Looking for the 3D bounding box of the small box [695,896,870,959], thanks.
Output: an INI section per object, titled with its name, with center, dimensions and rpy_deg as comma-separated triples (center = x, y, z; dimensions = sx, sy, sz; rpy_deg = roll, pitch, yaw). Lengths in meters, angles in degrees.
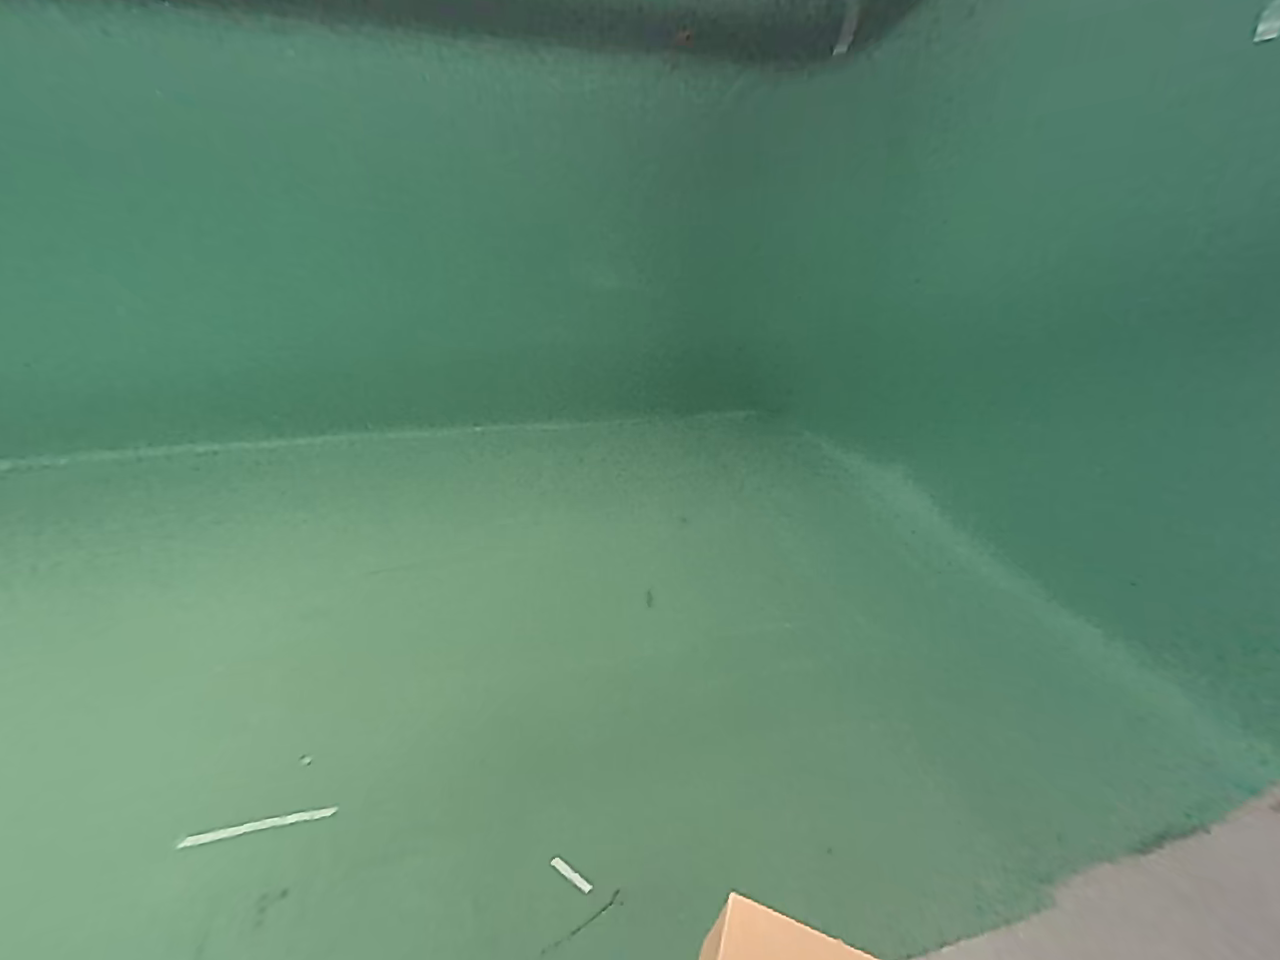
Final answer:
[small box]
center = 0.109, 0.441, 0.374
dimensions = 0.179, 0.176, 0.168
rpy_deg = 16, 38, 13
